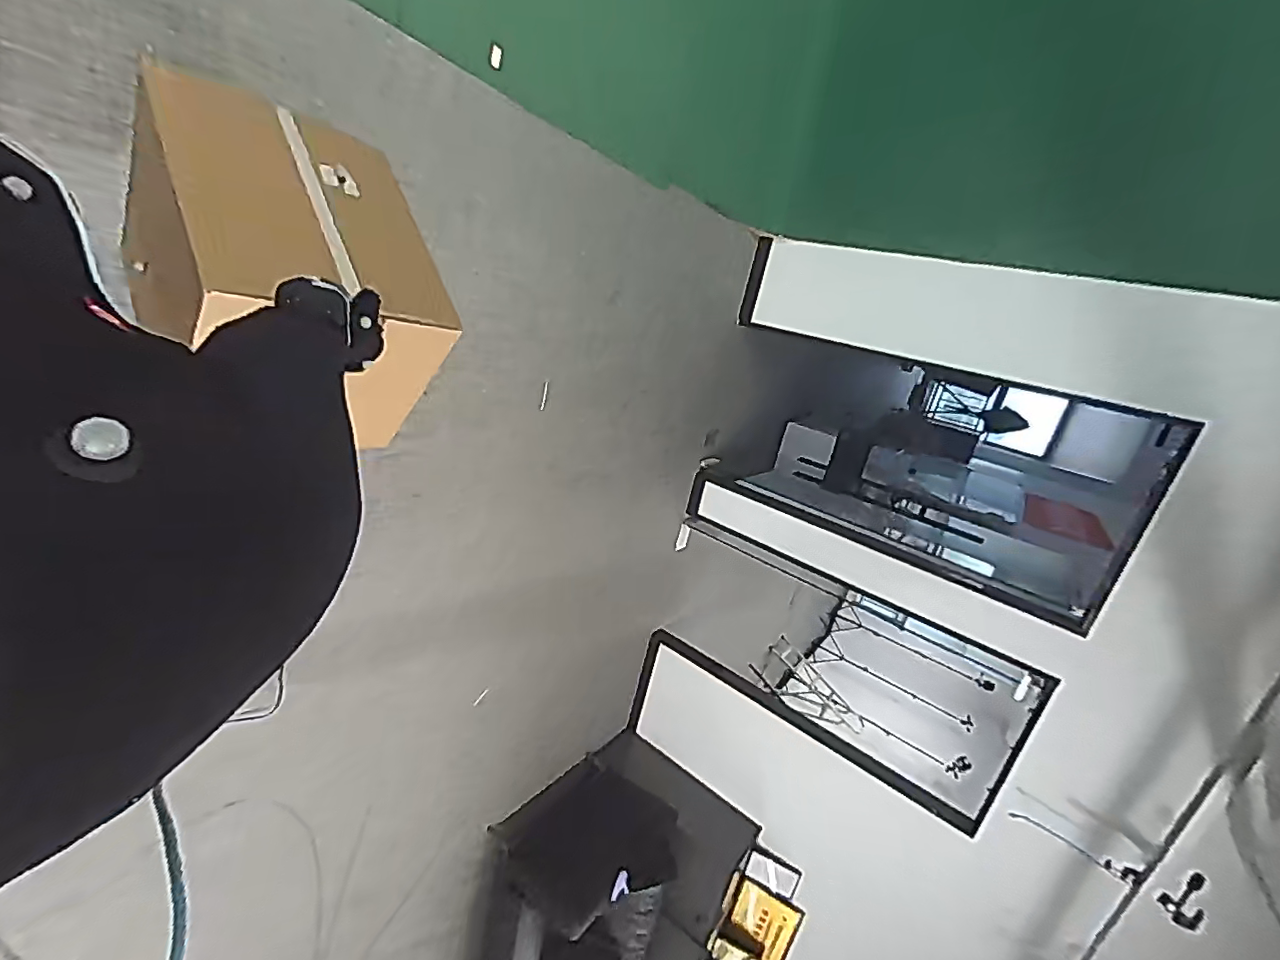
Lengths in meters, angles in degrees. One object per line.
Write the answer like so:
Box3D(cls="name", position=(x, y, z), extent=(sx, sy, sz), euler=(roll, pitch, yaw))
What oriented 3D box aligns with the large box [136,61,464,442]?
Box3D(cls="large box", position=(-0.541, -0.309, 0.844), extent=(0.320, 0.408, 0.320), euler=(-6, 154, -50))
